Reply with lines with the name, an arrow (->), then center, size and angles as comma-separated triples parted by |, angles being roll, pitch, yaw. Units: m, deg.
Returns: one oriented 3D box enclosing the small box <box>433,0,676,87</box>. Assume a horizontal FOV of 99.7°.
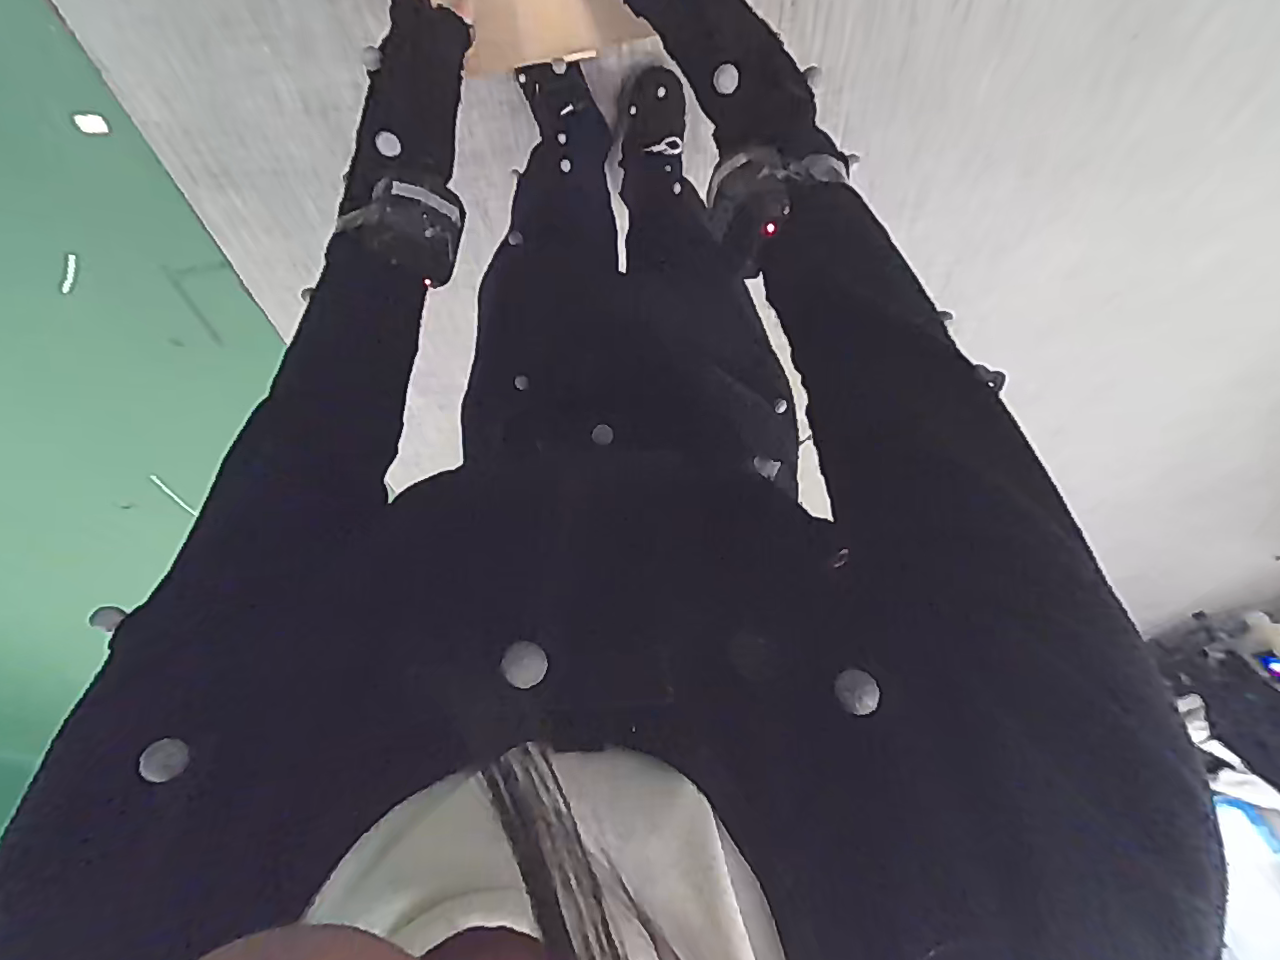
small box -> -0.075, -0.435, 0.424 | 0.179, 0.176, 0.168 | -9, 132, 4
